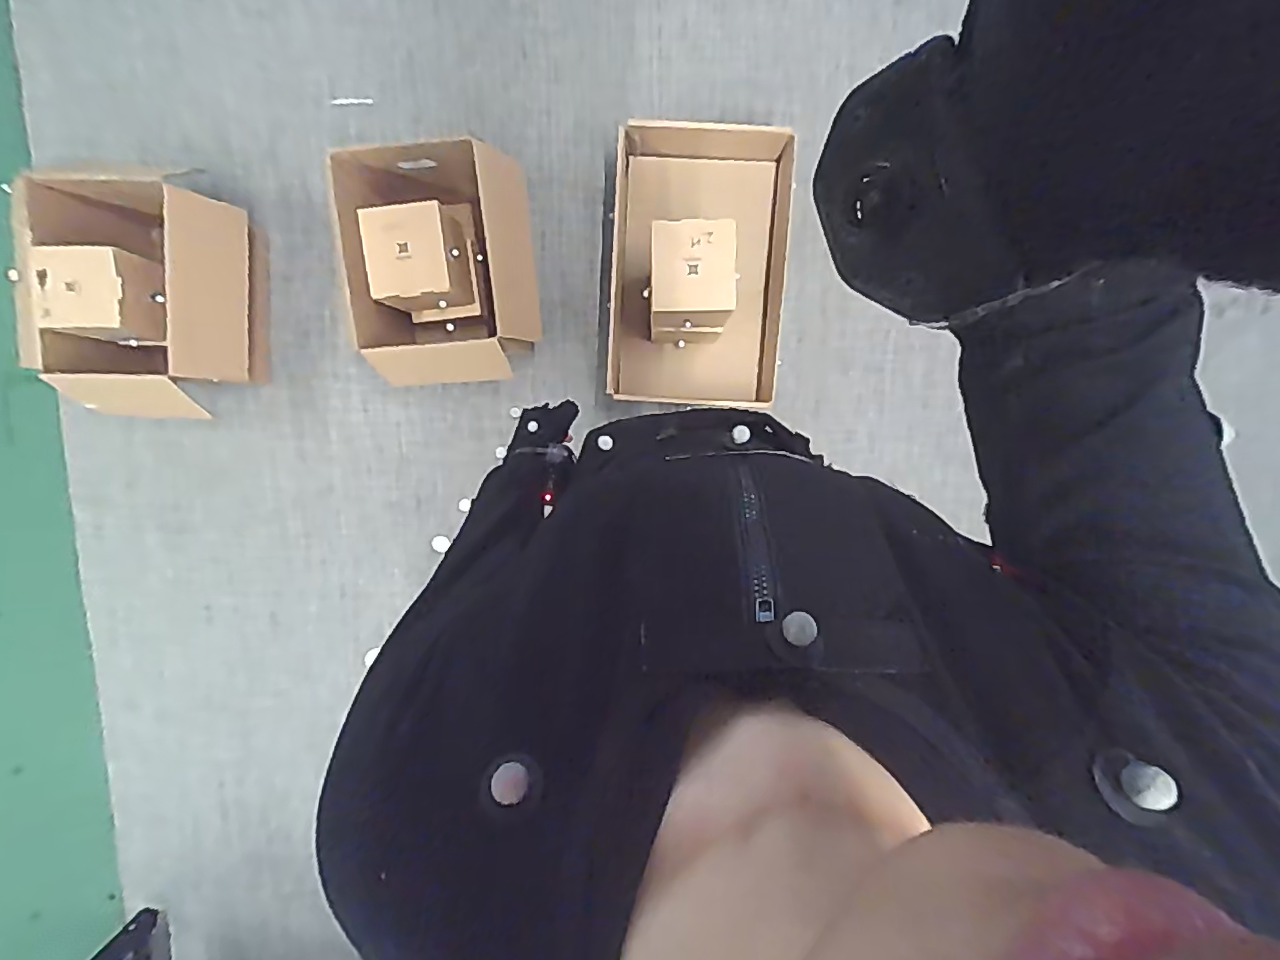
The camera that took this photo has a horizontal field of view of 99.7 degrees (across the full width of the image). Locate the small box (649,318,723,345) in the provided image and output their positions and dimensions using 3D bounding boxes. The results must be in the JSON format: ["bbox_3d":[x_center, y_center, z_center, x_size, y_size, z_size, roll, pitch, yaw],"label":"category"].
[{"bbox_3d":[0.108,-0.428,1.286,0.168,0.176,0.179,2,95,1],"label":"small box"}]

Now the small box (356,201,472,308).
[{"bbox_3d":[-0.473,-0.472,1.160,0.168,0.176,0.179,-6,98,1],"label":"small box"}]

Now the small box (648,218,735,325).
[{"bbox_3d":[0.102,-0.421,1.121,0.168,0.176,0.179,-1,95,0],"label":"small box"}]
